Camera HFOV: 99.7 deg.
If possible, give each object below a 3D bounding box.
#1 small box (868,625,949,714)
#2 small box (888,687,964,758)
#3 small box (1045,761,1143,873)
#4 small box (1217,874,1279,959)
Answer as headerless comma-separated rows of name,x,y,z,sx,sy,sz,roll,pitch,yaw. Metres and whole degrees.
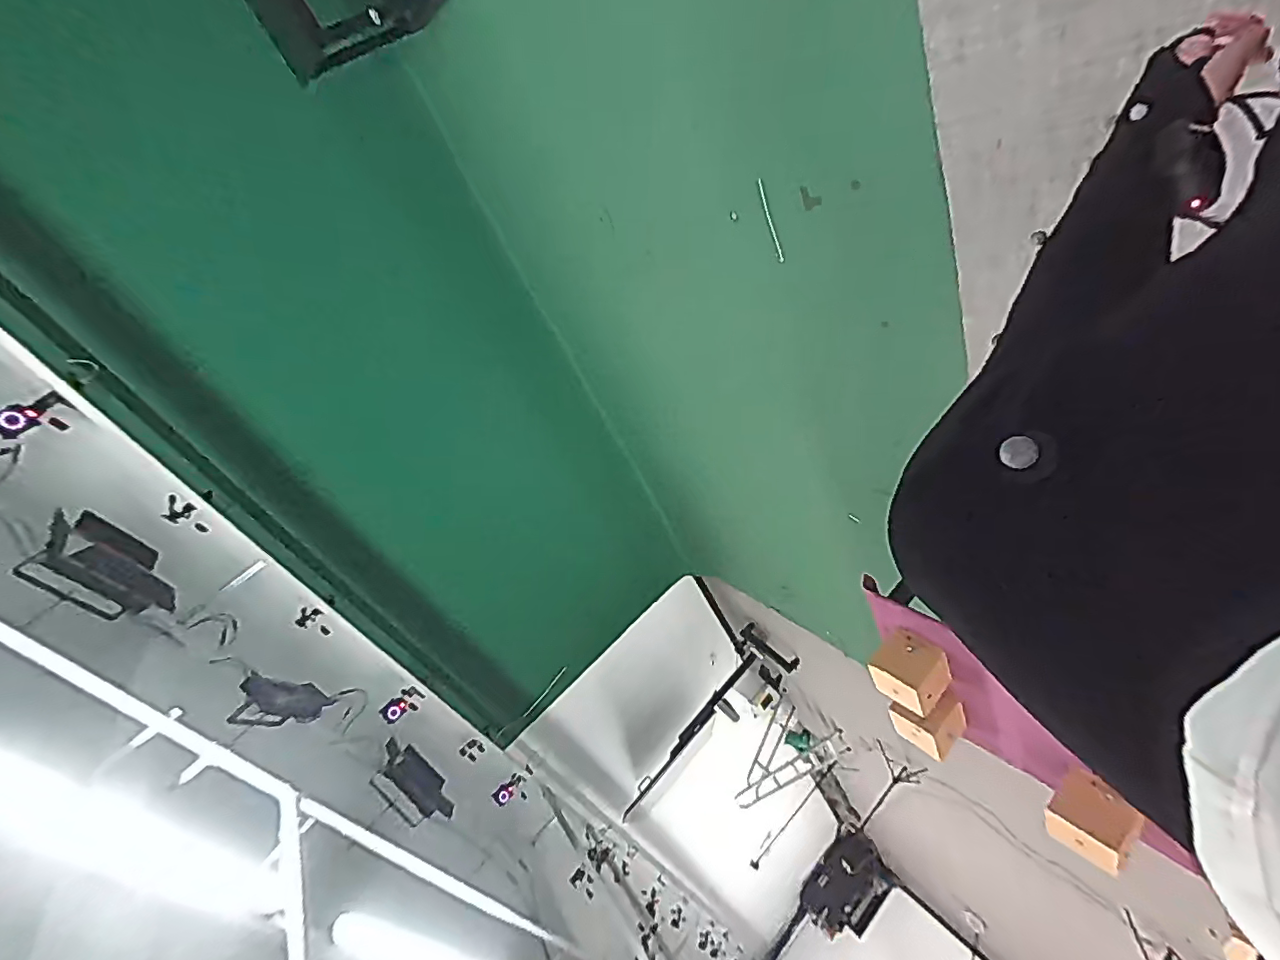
small box,0.871,0.608,1.746,0.168,0.176,0.179,23,150,51
small box,1.000,0.814,1.881,0.168,0.176,0.179,22,149,53
small box,1.267,0.936,1.511,0.168,0.176,0.179,23,149,52
small box,1.480,1.055,1.235,0.168,0.176,0.179,27,151,51
